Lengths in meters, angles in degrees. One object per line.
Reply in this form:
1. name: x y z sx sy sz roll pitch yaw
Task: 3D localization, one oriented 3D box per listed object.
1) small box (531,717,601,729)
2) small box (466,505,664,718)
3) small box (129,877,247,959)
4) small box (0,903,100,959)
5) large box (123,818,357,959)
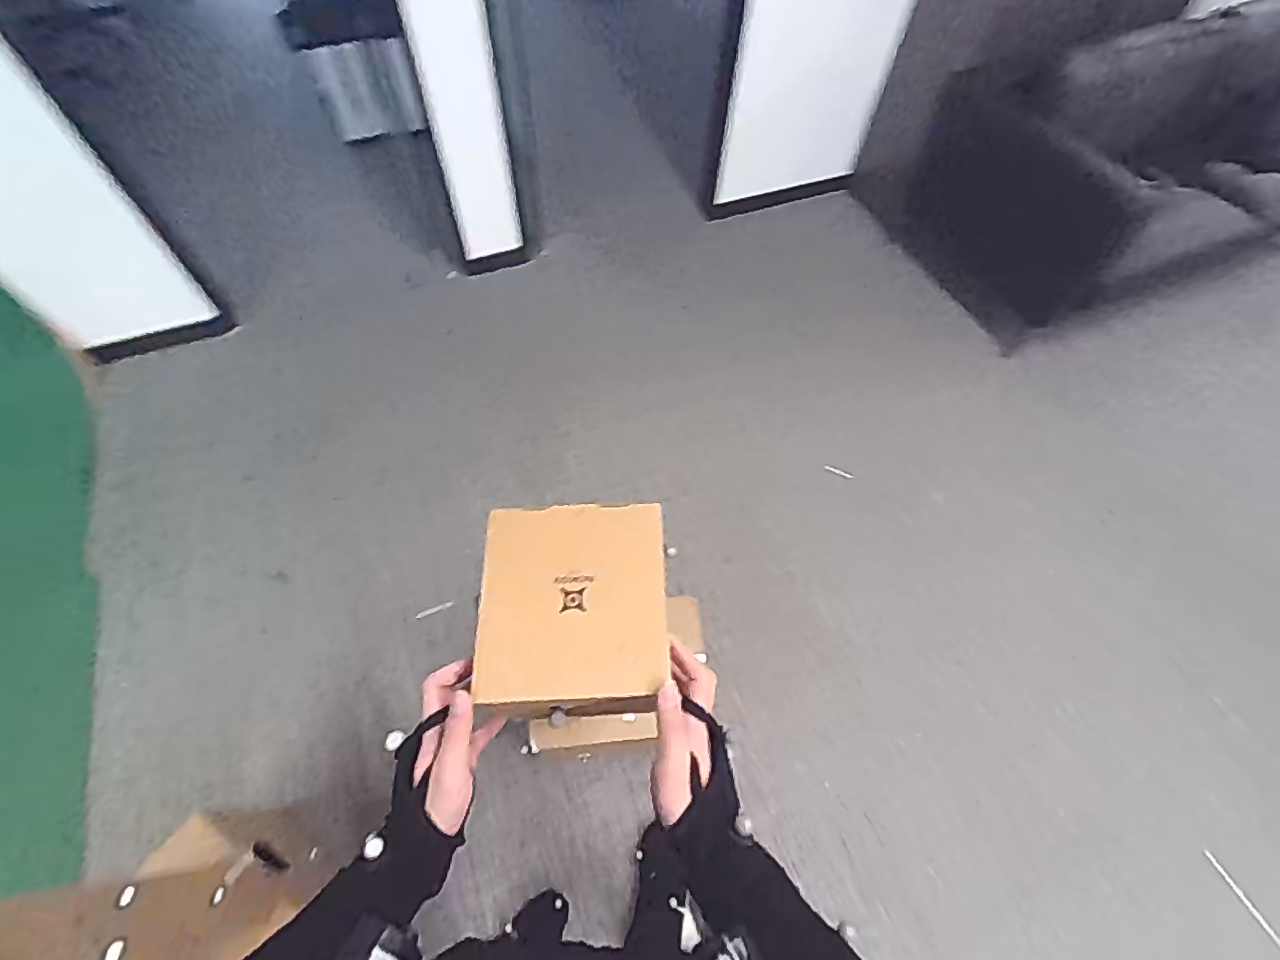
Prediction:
1. small box: -0.148 0.414 1.140 0.168 0.176 0.179 -10 60 -10
2. small box: -0.061 0.141 0.546 0.168 0.176 0.179 -2 60 0
3. small box: -0.784 0.782 0.871 0.168 0.176 0.179 29 61 14
4. small box: -0.754 0.613 0.593 0.168 0.176 0.179 30 63 14
5. large box: -0.862 0.948 1.053 0.320 0.320 0.408 29 62 16
